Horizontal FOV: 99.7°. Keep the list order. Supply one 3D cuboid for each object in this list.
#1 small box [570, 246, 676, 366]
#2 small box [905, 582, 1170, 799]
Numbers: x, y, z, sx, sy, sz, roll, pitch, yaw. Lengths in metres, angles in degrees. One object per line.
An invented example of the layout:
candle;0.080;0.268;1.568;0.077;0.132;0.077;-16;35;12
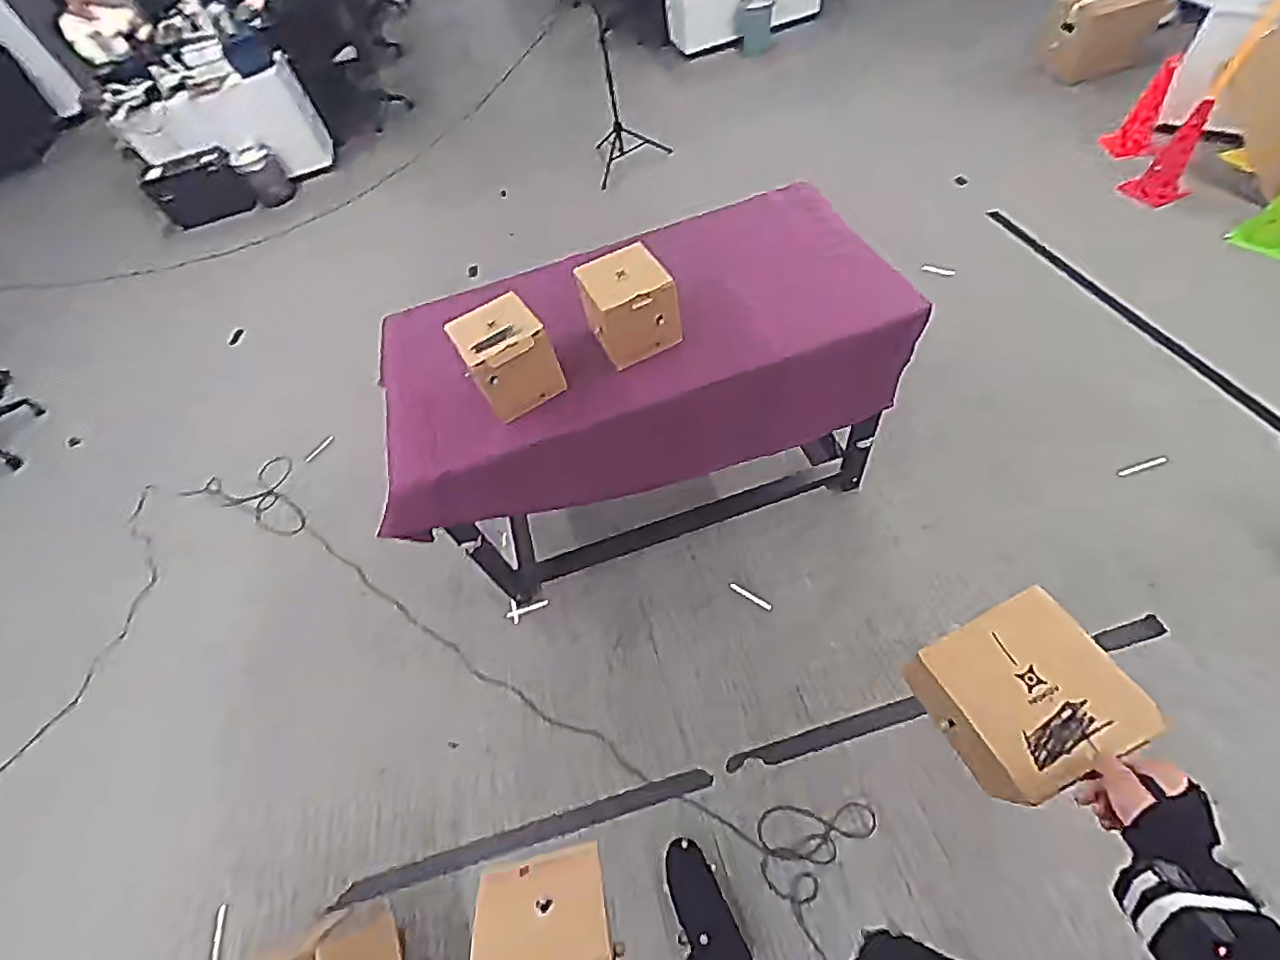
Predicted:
small box;-0.033;-0.377;1.200;0.168;0.176;0.179;-26;55;-8
small box;0.452;0.257;0.656;0.168;0.176;0.179;-30;56;2
